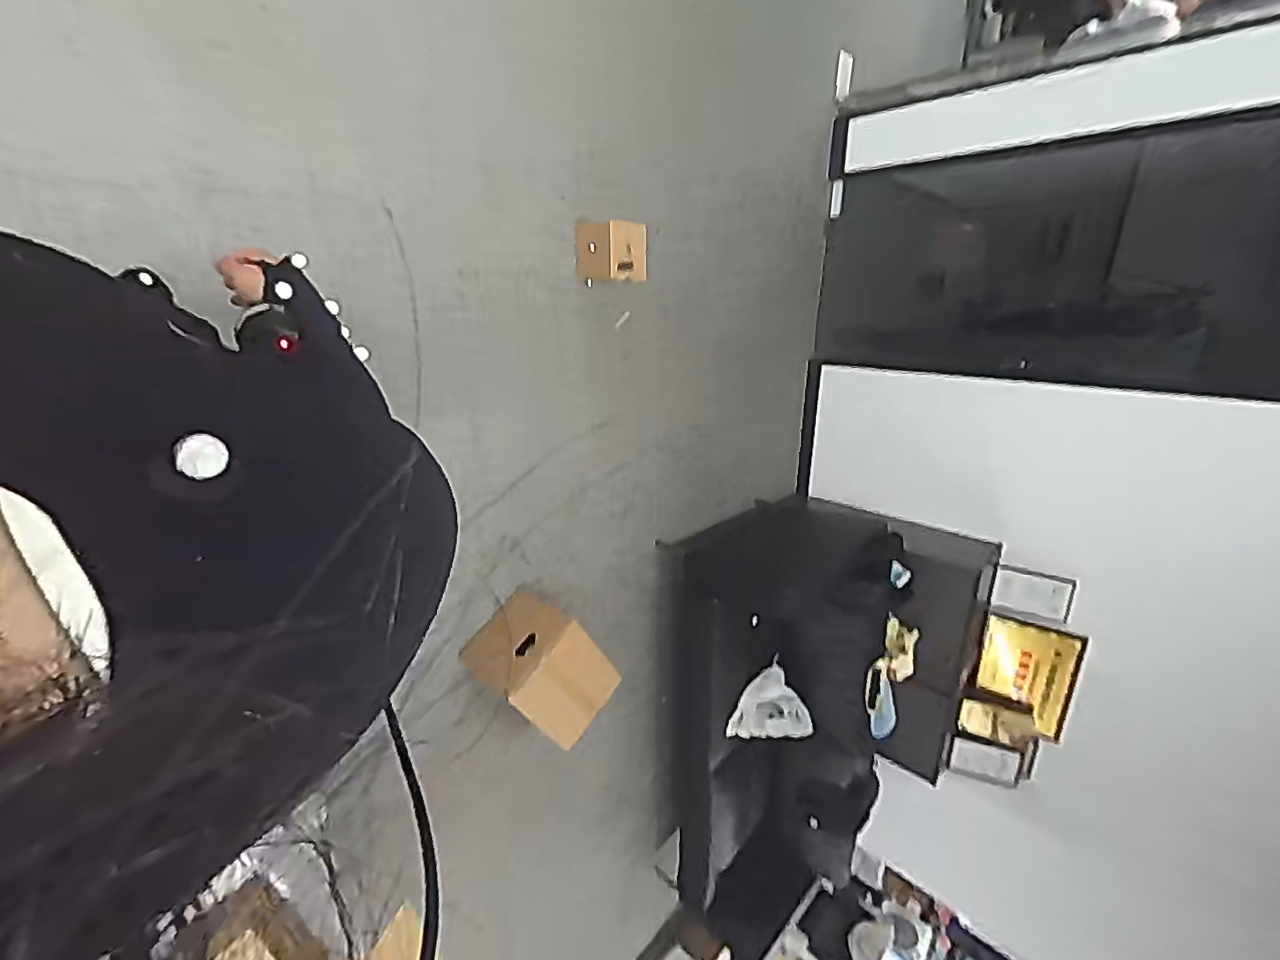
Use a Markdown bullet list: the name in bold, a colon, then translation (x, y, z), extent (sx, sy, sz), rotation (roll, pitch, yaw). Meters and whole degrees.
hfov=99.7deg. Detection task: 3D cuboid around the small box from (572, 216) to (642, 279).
- **small box**: translation (-0.113, -0.769, 1.806), extent (0.168, 0.176, 0.179), rotation (-16, 114, -44)
